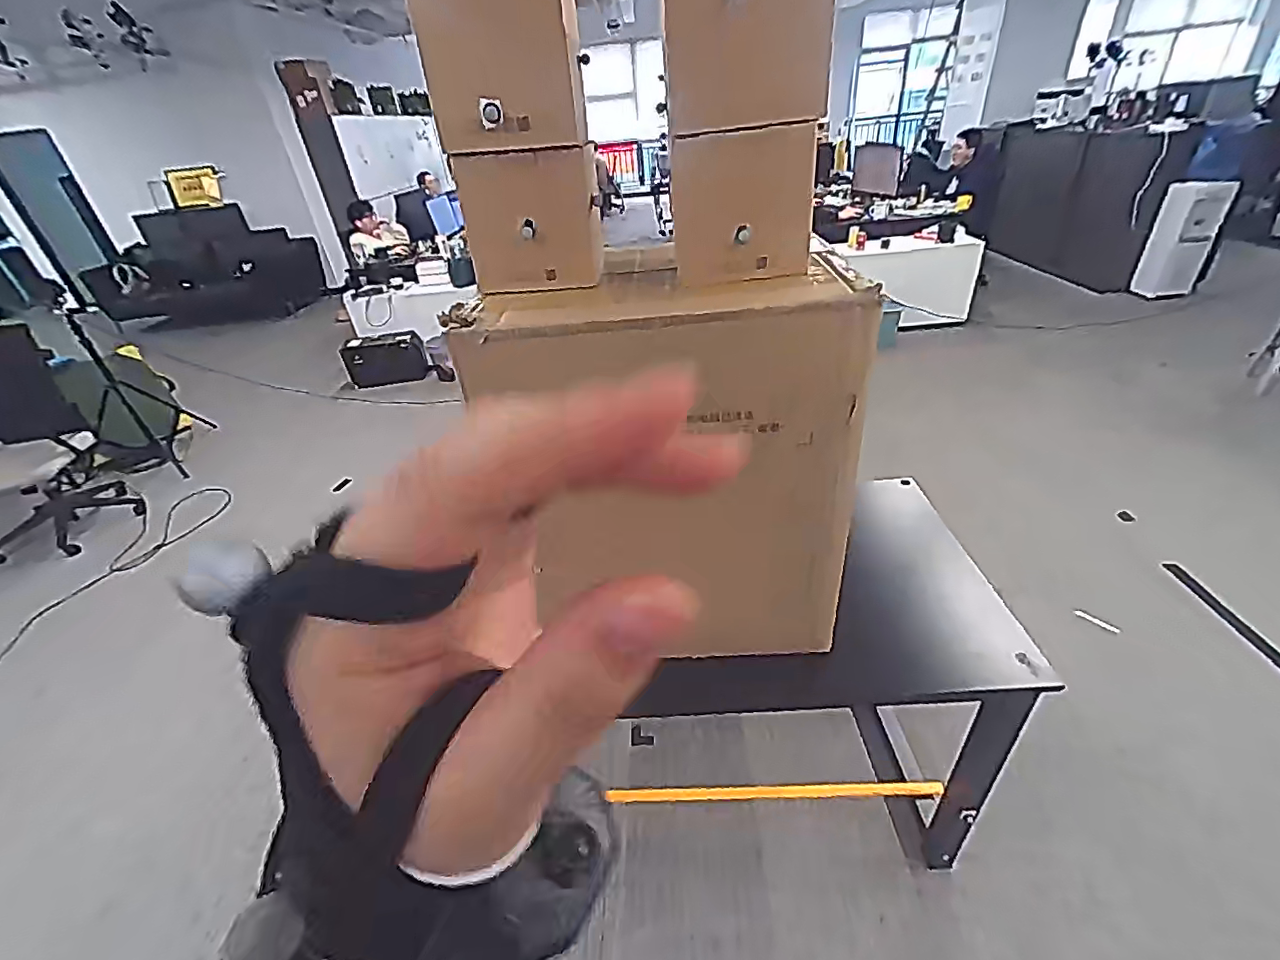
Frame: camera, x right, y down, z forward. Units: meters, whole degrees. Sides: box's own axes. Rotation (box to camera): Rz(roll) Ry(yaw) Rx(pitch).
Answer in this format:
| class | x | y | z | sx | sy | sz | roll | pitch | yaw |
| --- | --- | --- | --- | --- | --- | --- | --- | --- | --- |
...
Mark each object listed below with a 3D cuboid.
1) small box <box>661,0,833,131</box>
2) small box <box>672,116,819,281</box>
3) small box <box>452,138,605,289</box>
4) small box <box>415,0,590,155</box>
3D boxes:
| class | x | y | z | sx | sy | sz | roll | pitch | yaw |
| --- | --- | --- | --- | --- | --- | --- | --- | --- | --- |
| small box | 0.117 | -0.508 | 0.624 | 0.179 | 0.176 | 0.168 | -4 | 34 | 4 |
| small box | 0.129 | -0.374 | 0.720 | 0.168 | 0.176 | 0.179 | -5 | 34 | 5 |
| small box | -0.142 | -0.374 | 0.764 | 0.168 | 0.176 | 0.179 | -3 | 34 | 2 |
| small box | -0.155 | -0.502 | 0.663 | 0.168 | 0.176 | 0.179 | -5 | 34 | 2 |
